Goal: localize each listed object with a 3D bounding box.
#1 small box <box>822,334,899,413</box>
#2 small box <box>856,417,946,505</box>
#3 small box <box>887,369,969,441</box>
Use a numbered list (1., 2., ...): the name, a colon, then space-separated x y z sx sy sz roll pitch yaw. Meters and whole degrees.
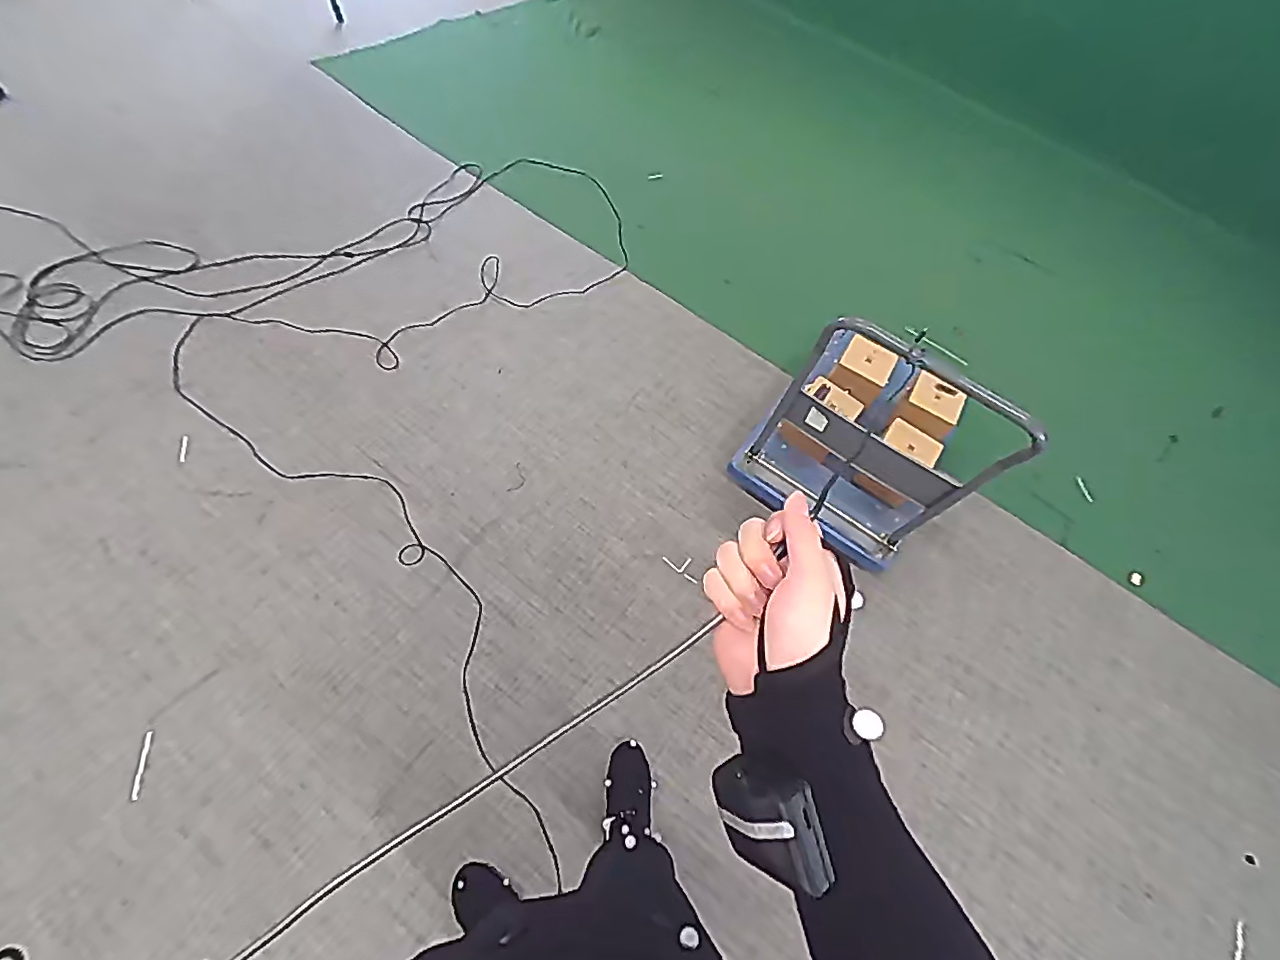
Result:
1. small box: 0.759 -0.364 1.875 0.168 0.176 0.179 32 60 9
2. small box: 0.816 -0.057 1.705 0.168 0.176 0.179 36 62 12
3. small box: 0.971 -0.236 1.834 0.168 0.176 0.179 31 61 10
